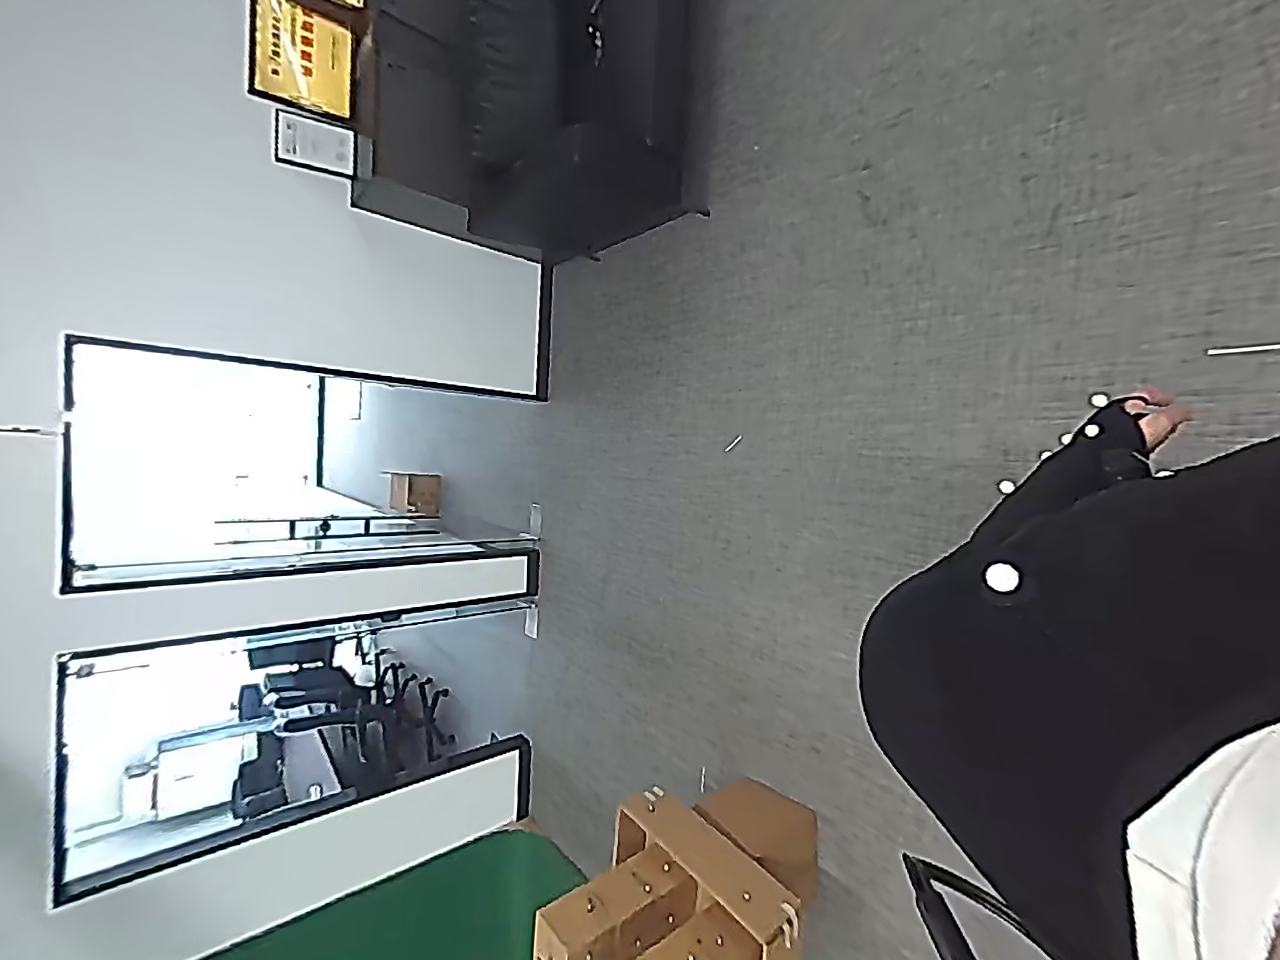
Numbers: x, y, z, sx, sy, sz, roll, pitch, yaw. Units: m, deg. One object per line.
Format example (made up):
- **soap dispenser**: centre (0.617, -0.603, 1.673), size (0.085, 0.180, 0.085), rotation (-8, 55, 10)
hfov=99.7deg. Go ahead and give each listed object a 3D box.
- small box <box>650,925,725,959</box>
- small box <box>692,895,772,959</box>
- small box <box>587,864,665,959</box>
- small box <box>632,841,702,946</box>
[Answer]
- **small box**: centre (0.130, 1.331, 1.413), size (0.168, 0.176, 0.179), rotation (14, 100, 50)
- **small box**: centre (0.253, 1.336, 1.522), size (0.168, 0.176, 0.179), rotation (13, 99, 50)
- **small box**: centre (-0.041, 1.308, 1.620), size (0.168, 0.176, 0.179), rotation (8, 96, 49)
- **small box**: centre (0.081, 1.308, 1.730), size (0.168, 0.176, 0.179), rotation (10, 97, 49)
